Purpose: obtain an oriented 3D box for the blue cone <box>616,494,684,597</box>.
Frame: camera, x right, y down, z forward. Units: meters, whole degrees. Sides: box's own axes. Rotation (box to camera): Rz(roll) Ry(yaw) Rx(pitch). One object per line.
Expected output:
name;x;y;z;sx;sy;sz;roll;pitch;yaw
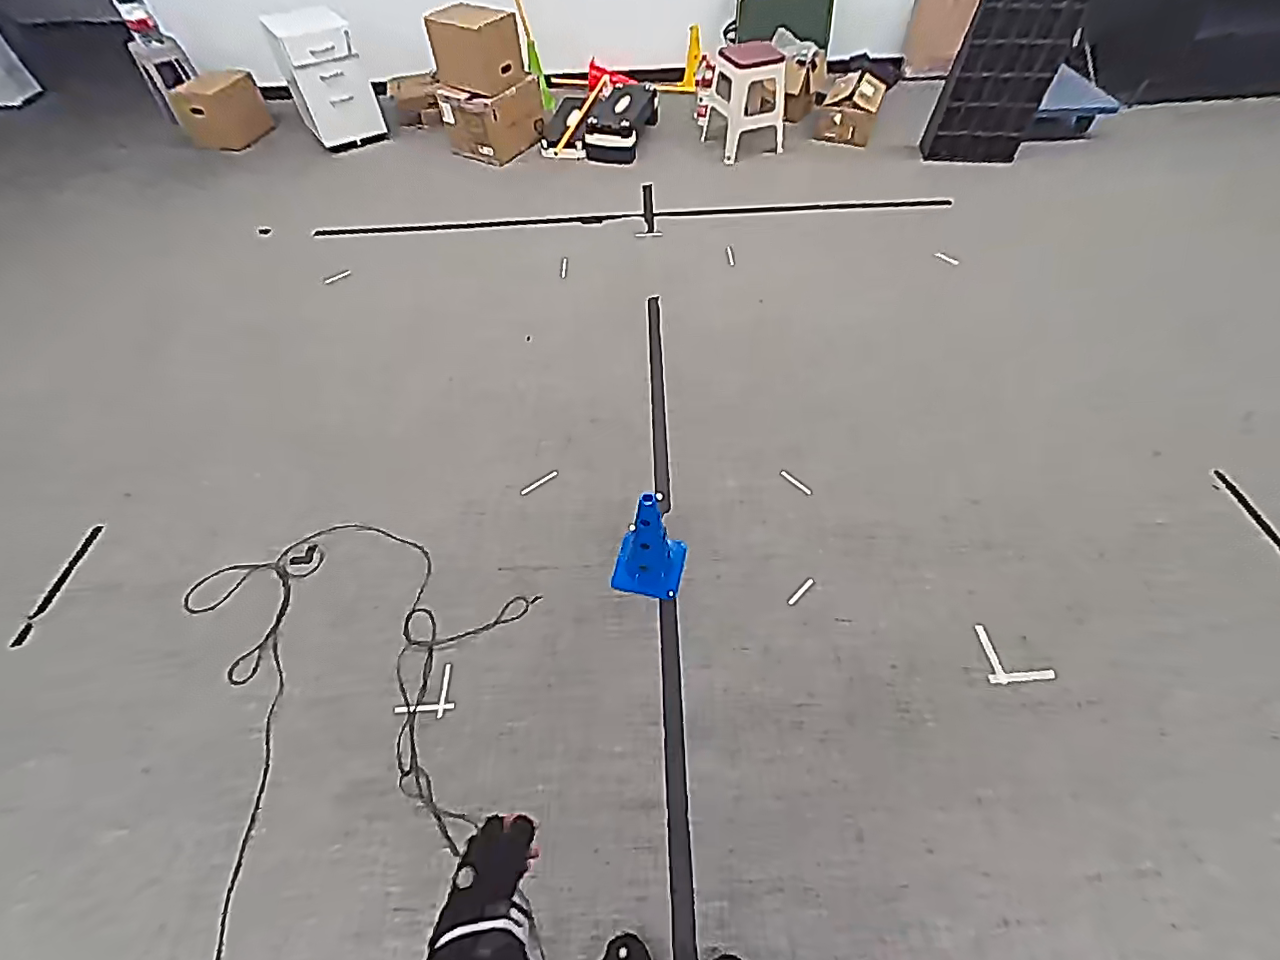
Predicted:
blue cone;0.028;0.158;1.499;0.192;0.380;0.193;11;54;9
